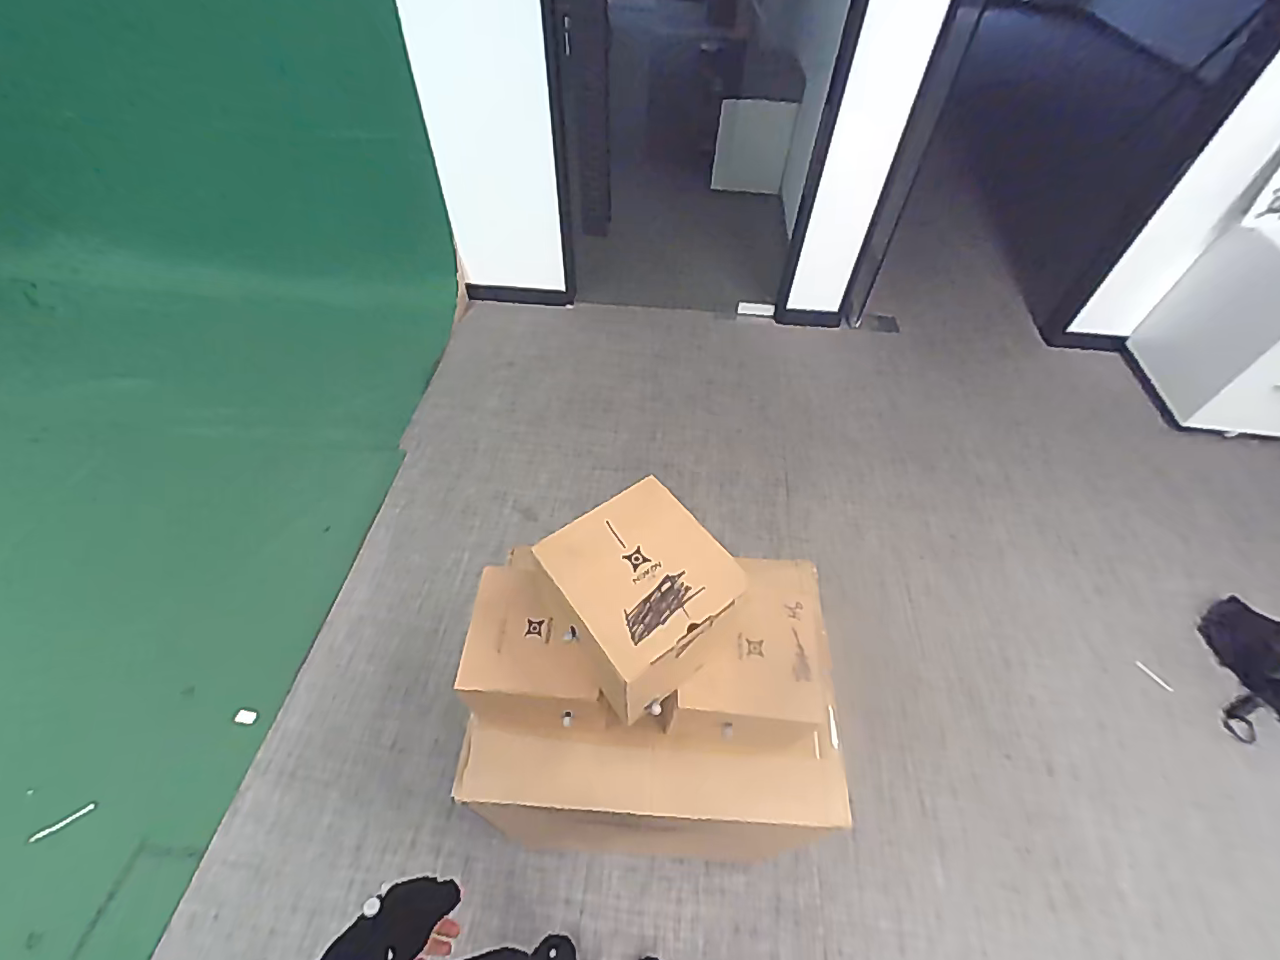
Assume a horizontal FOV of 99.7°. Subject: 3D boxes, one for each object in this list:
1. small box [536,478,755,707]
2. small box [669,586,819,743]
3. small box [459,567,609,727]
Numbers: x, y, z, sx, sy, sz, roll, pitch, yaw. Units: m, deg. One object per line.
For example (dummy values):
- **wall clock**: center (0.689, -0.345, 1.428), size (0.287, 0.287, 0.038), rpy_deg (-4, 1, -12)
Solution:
- **small box**: center (0.004, 0.137, 0.626), size (0.168, 0.176, 0.179), rpy_deg (-30, 59, -22)
- **small box**: center (0.133, 0.255, 0.748), size (0.179, 0.176, 0.168), rpy_deg (5, 55, 3)
- **small box**: center (-0.127, 0.237, 0.753), size (0.179, 0.176, 0.168), rpy_deg (2, 53, 1)
